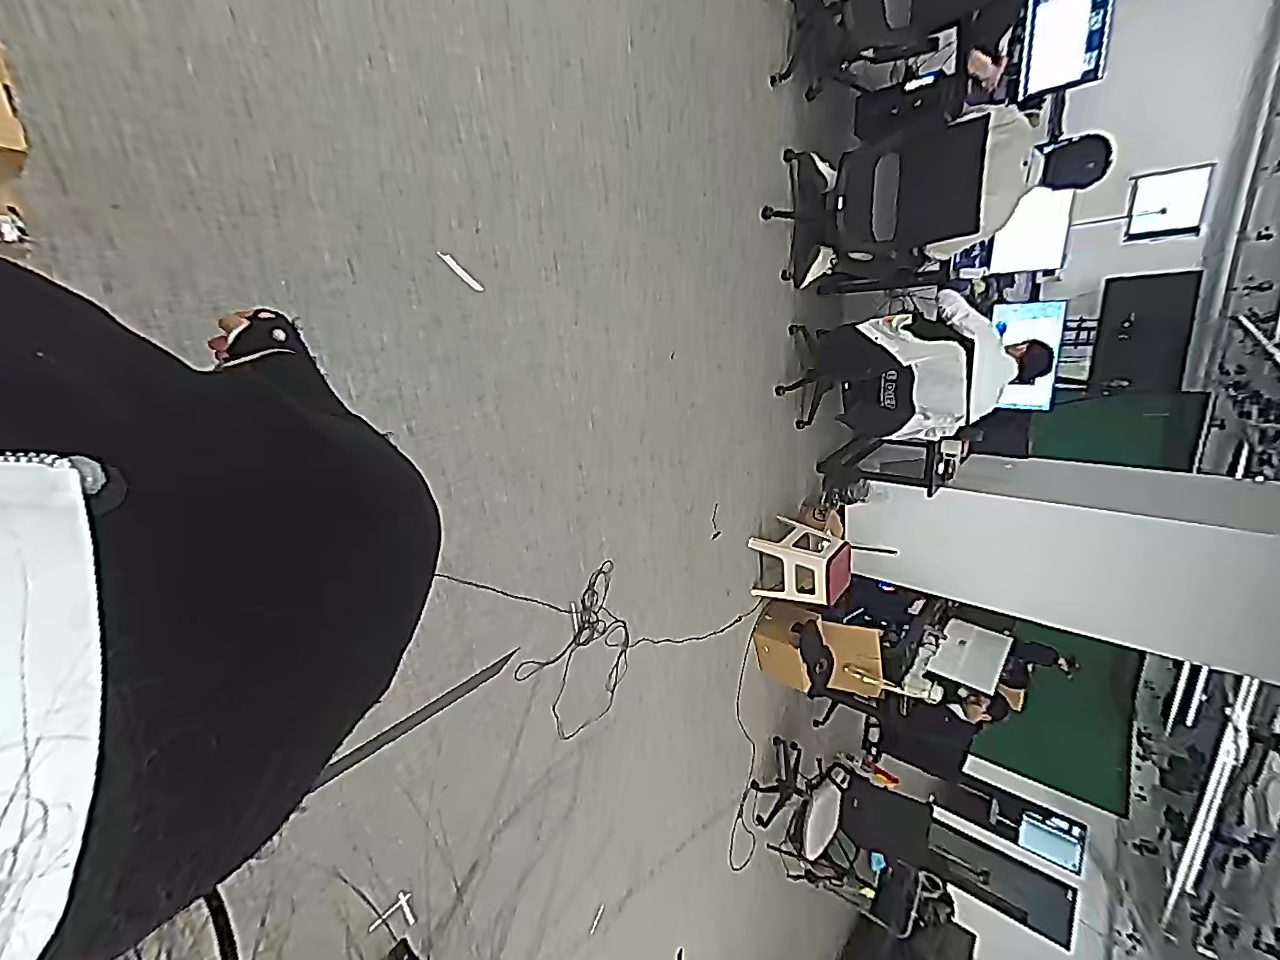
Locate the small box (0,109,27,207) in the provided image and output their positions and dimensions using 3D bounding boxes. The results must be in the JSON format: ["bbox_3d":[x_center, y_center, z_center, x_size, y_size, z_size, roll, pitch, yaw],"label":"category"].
[{"bbox_3d":[-0.775,-0.378,0.540,0.179,0.176,0.168,-23,116,-46],"label":"small box"}]
